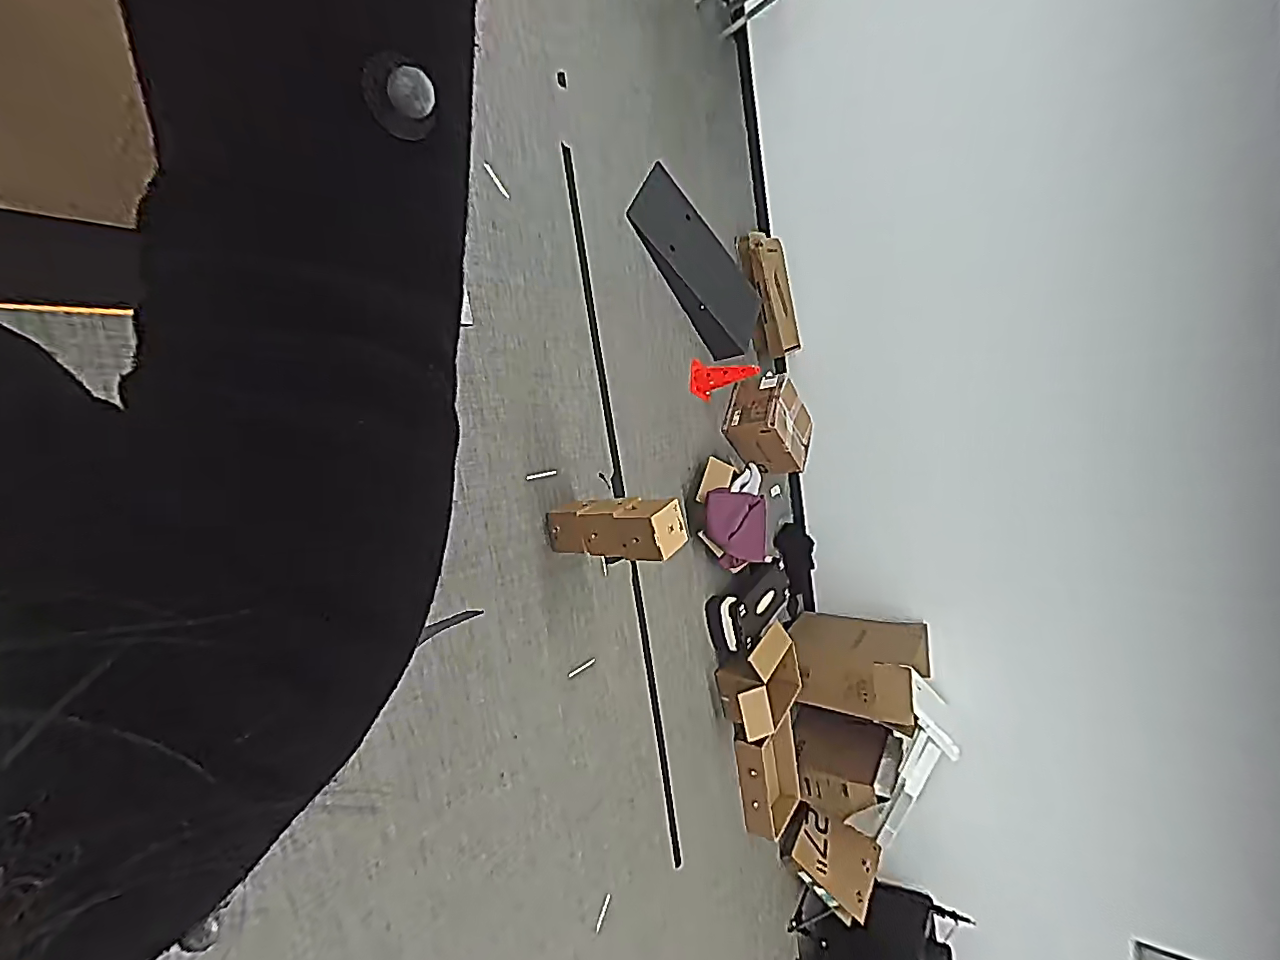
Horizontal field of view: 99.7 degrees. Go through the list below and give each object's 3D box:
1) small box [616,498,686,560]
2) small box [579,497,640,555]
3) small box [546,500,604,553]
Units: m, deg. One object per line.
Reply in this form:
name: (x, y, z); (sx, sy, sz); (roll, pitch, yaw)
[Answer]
small box: (0.033, 0.171, 1.902); (0.179, 0.176, 0.168); (-31, 110, -49)
small box: (-0.097, 0.169, 2.004); (0.179, 0.176, 0.168); (-29, 108, -50)
small box: (-0.235, 0.177, 2.094); (0.179, 0.176, 0.168); (-21, 102, -50)
